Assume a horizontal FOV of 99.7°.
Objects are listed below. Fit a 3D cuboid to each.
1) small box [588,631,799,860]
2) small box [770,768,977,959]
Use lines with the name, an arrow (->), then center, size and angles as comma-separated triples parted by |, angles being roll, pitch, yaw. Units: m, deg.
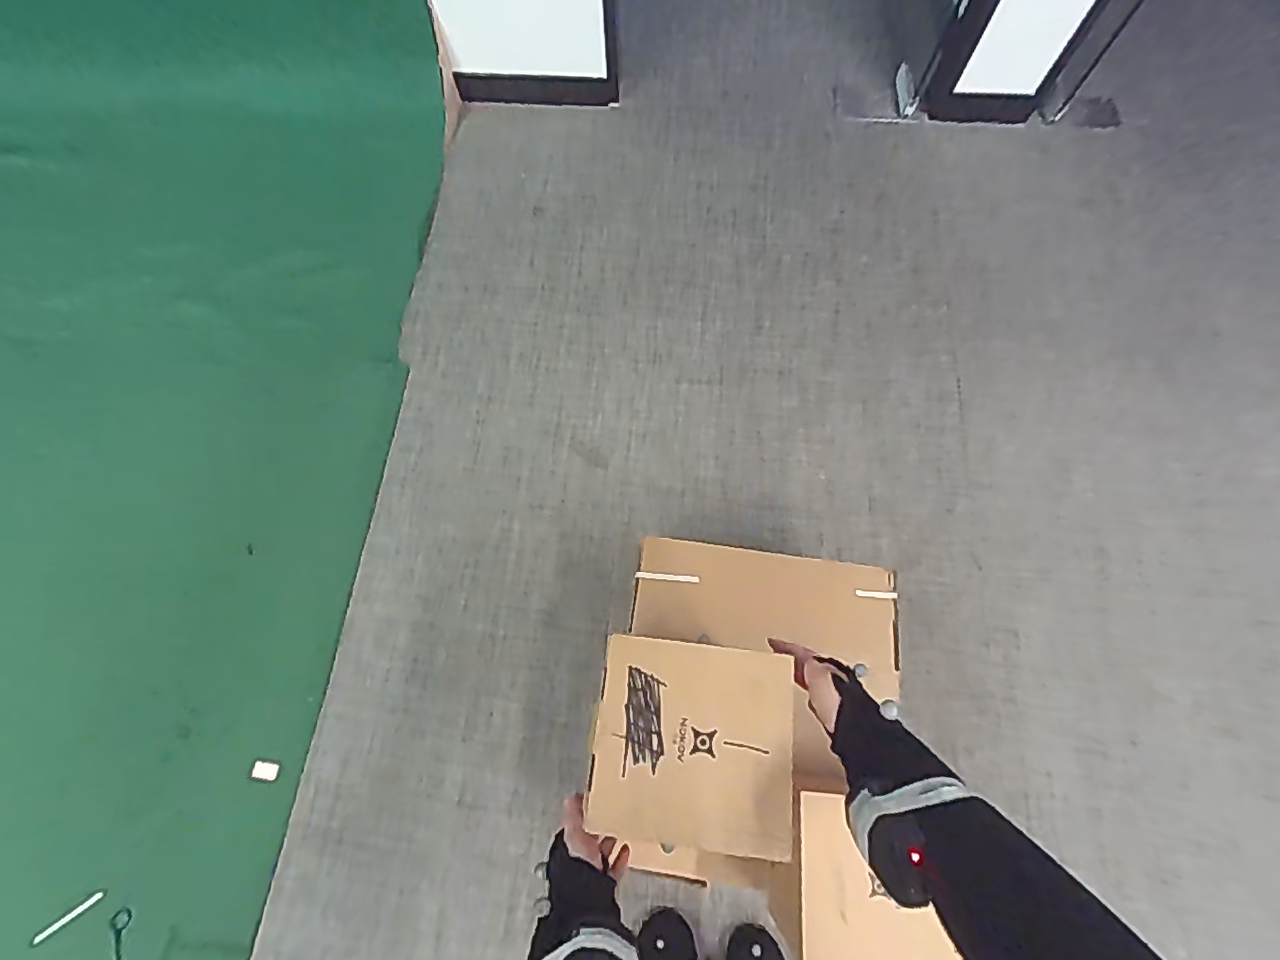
small box -> 0.053, 0.256, 0.549 | 0.179, 0.176, 0.168 | 6, 69, 3
small box -> 0.262, 0.453, 0.648 | 0.179, 0.176, 0.168 | 4, 69, 2
